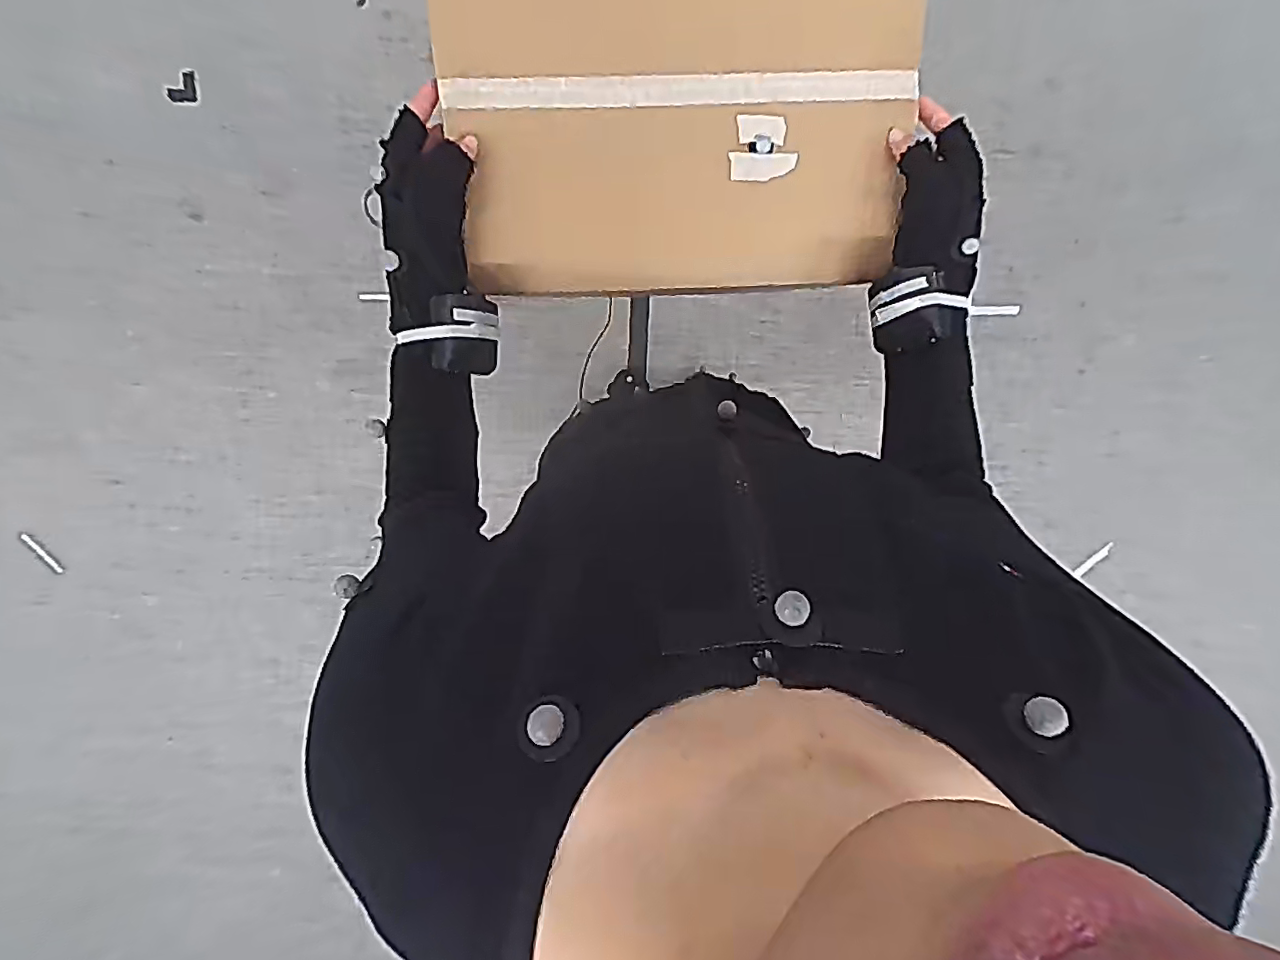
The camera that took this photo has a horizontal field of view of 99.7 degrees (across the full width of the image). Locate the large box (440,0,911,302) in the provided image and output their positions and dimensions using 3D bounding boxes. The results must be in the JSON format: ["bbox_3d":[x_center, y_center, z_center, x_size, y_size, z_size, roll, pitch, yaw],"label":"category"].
[{"bbox_3d":[0.025,-0.379,0.615,0.408,0.320,0.320,-3,108,-4],"label":"large box"}]
